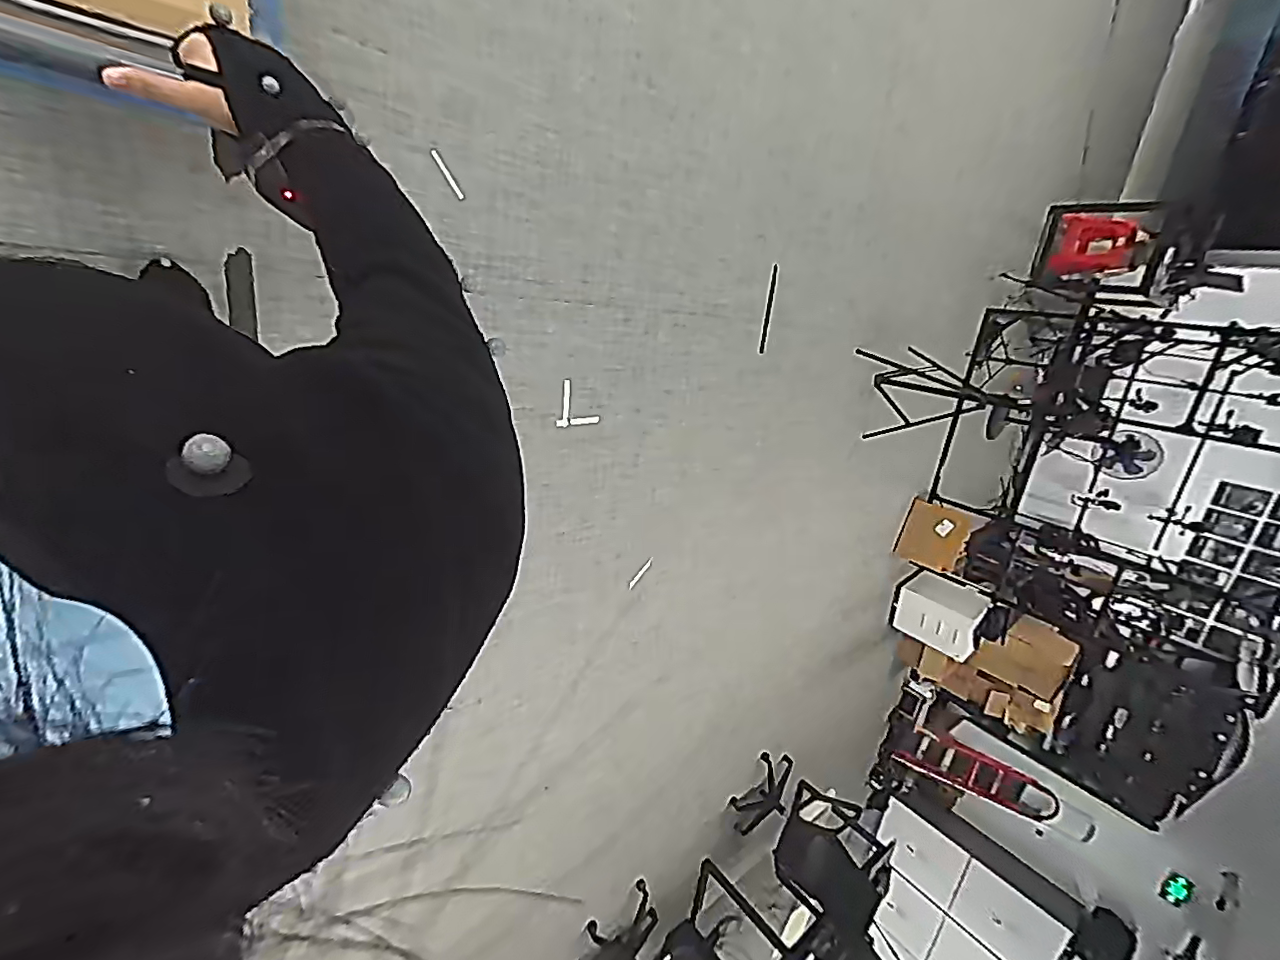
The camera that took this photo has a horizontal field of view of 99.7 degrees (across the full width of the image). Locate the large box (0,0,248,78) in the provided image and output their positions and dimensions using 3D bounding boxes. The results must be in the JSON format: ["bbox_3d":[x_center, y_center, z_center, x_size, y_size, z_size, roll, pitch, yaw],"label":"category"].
[{"bbox_3d":[-0.761,-0.752,0.660,0.408,0.320,0.320,-9,120,-41],"label":"large box"}]
